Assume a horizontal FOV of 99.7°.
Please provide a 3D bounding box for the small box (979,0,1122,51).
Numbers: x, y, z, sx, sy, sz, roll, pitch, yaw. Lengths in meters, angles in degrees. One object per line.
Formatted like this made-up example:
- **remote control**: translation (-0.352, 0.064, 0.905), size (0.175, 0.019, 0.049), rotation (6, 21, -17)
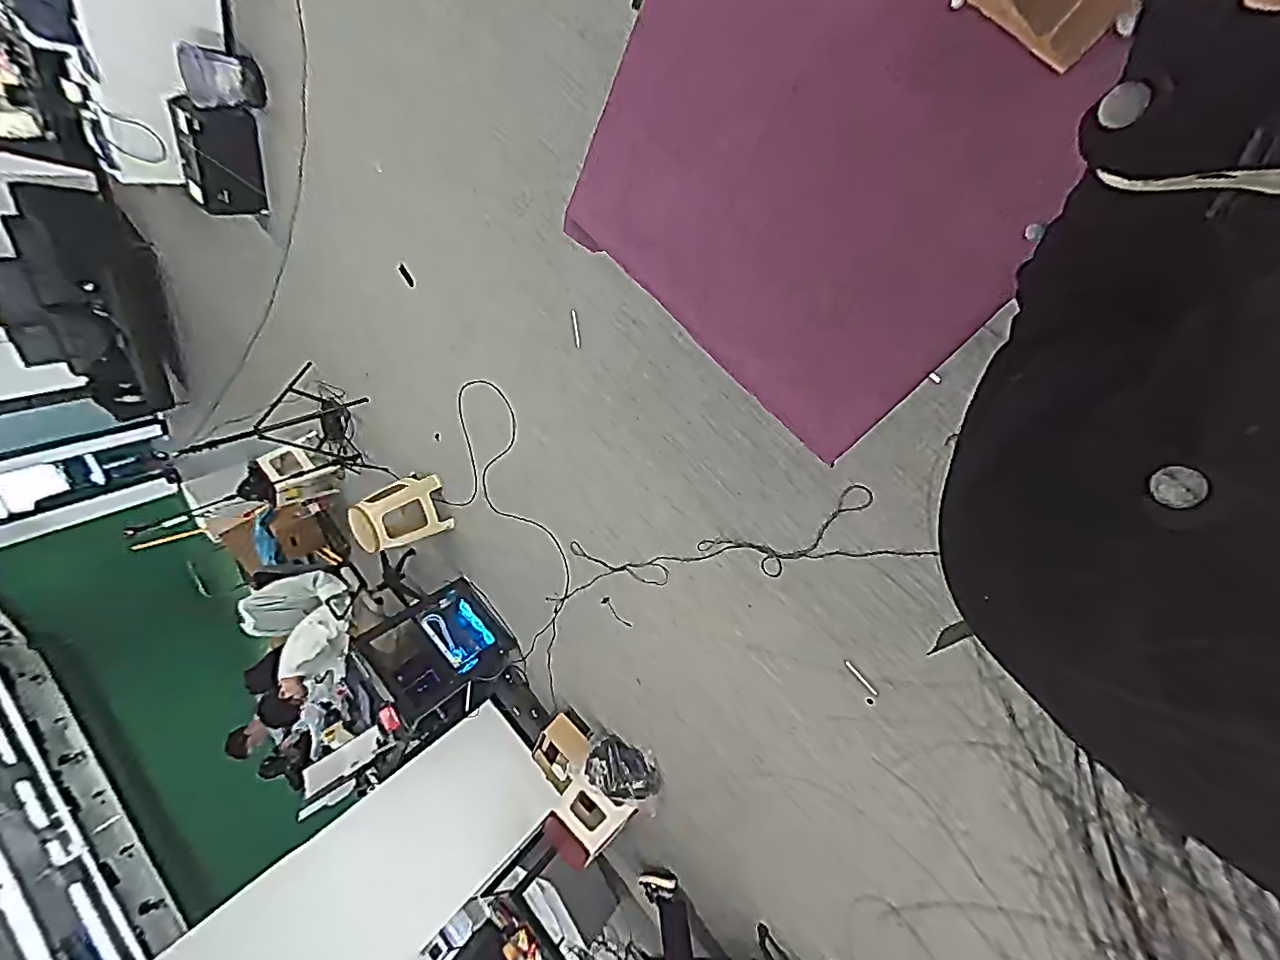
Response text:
- **small box**: translation (0.336, -0.477, 0.421), size (0.179, 0.176, 0.168), rotation (49, 136, 10)
